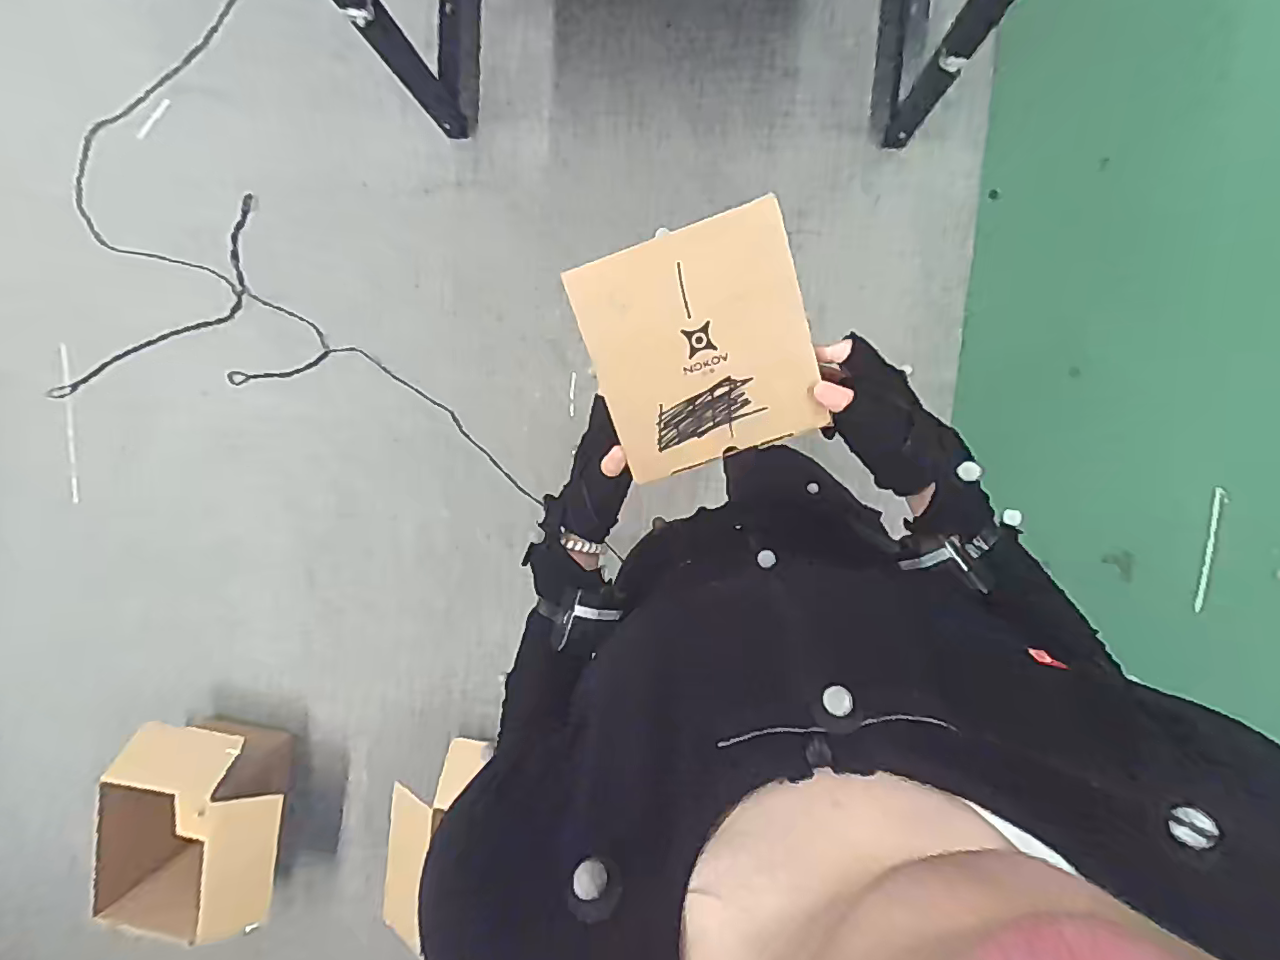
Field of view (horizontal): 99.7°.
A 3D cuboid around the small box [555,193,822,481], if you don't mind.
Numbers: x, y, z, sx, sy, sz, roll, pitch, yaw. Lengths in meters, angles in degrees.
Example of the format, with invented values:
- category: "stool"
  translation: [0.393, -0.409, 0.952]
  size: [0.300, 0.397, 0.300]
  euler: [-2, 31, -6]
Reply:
- category: "small box"
  translation: [0.042, -0.123, 0.485]
  size: [0.168, 0.176, 0.179]
  euler: [-19, 105, 6]
